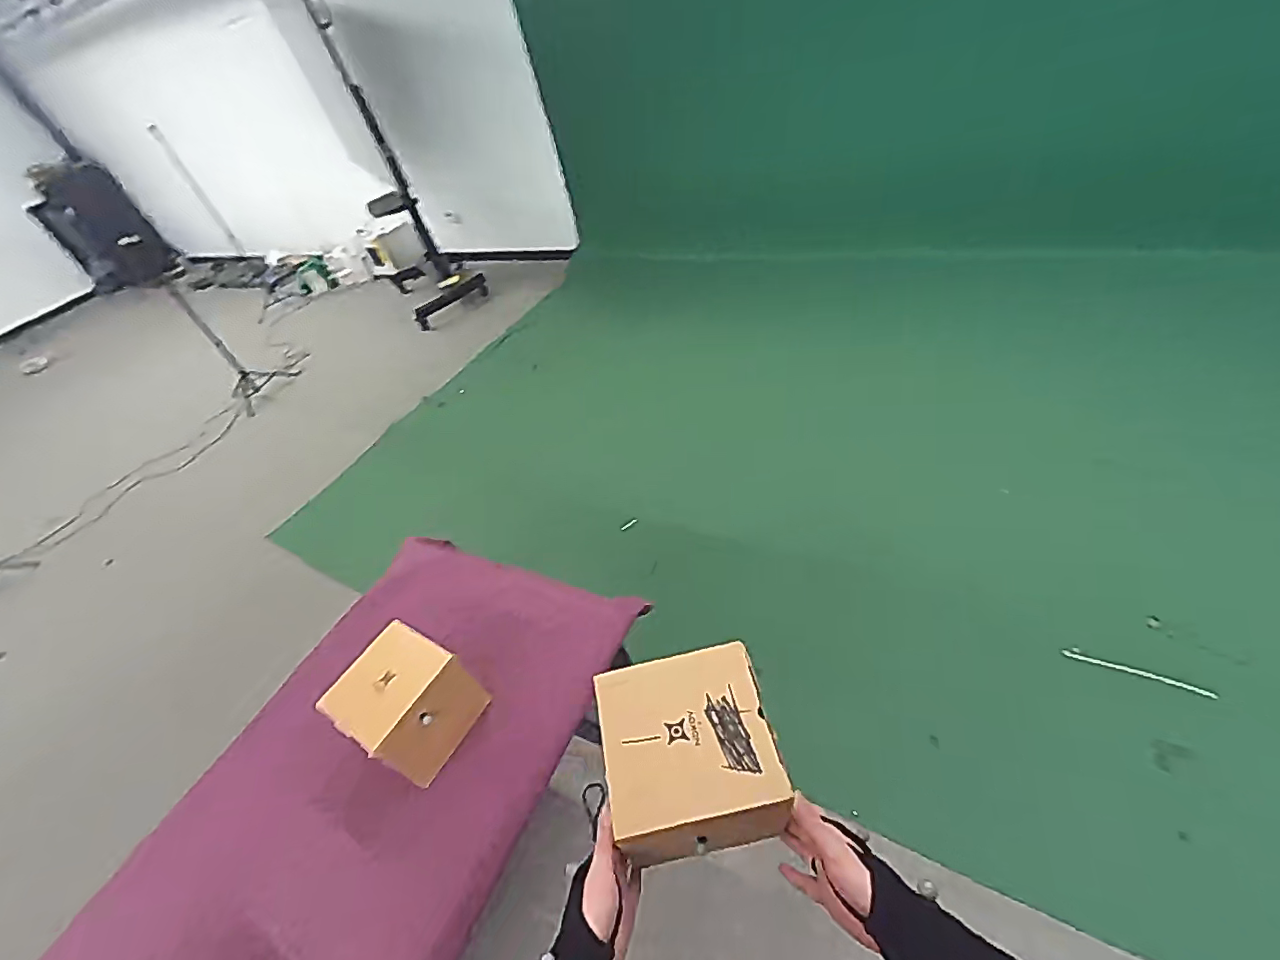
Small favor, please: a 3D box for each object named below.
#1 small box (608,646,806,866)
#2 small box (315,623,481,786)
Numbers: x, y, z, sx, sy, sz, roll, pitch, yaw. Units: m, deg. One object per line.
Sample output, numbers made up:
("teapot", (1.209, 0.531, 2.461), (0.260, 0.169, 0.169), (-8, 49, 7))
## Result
("small box", (0.068, 0.315, 0.613), (0.179, 0.176, 0.168), (-11, 46, -1))
("small box", (-0.402, 0.388, 0.937), (0.168, 0.176, 0.179), (16, 53, 30))
